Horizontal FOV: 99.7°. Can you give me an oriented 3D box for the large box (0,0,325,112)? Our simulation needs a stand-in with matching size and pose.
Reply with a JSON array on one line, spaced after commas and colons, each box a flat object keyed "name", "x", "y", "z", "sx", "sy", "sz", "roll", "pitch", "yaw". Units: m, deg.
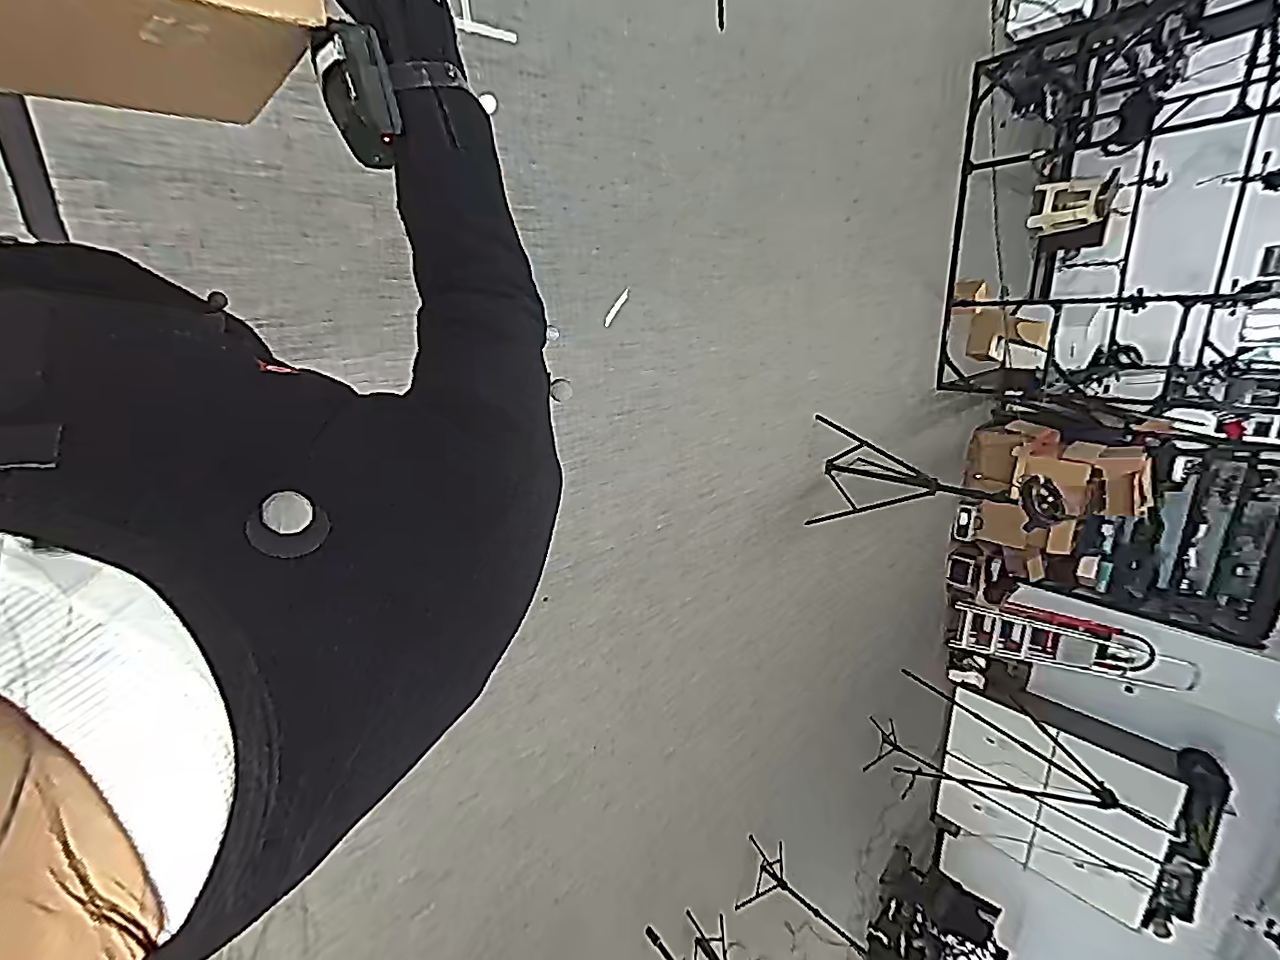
[{"name": "large box", "x": -0.441, "y": -0.410, "z": 0.256, "sx": 0.408, "sy": 0.320, "sz": 0.320, "roll": -19, "pitch": 119, "yaw": -38}]
